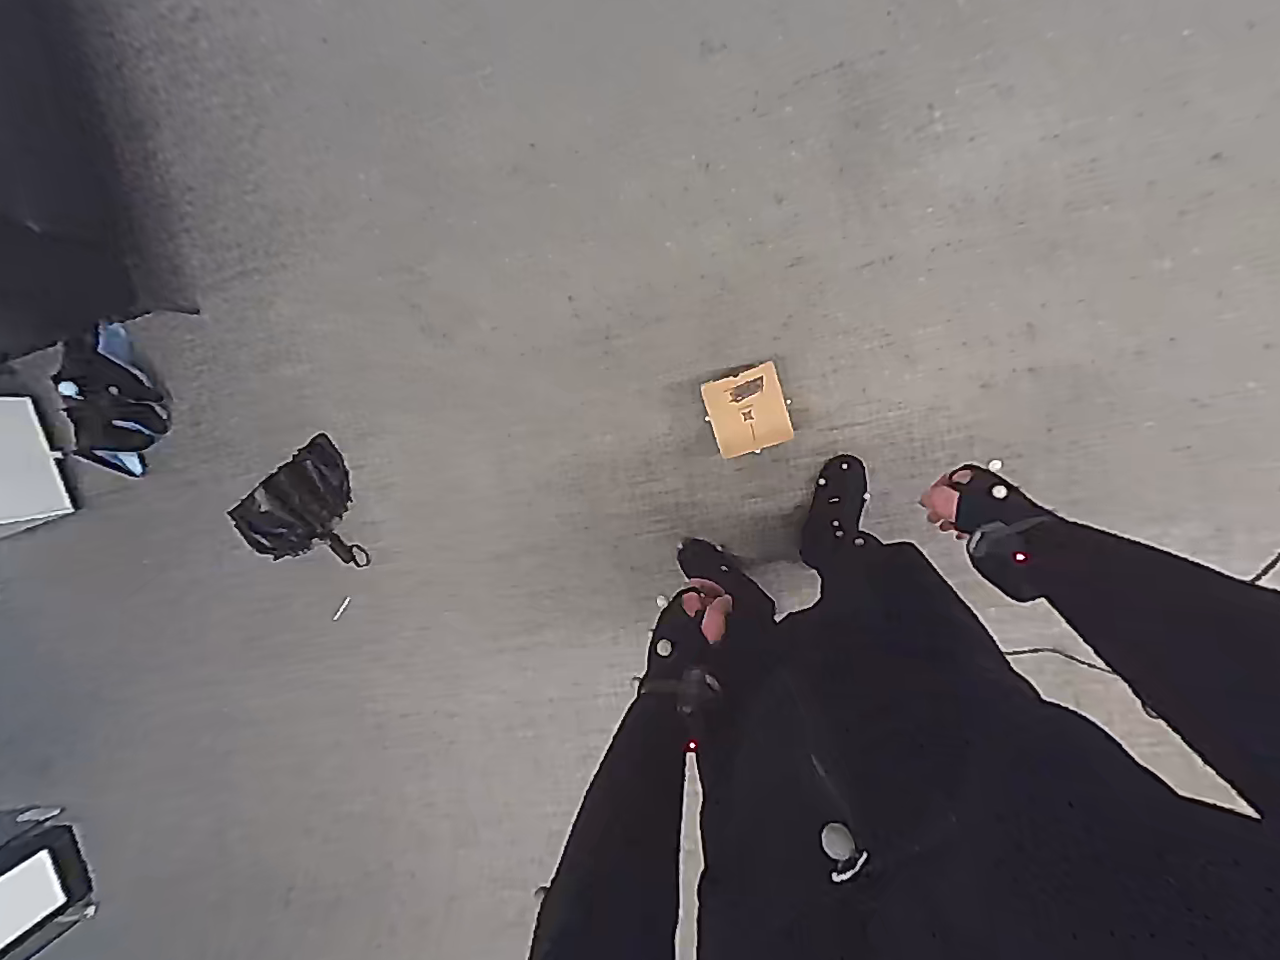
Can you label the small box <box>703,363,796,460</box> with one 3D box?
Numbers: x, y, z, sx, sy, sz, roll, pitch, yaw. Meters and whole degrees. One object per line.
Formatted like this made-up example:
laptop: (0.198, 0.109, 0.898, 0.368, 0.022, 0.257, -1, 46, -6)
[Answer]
small box: (0.253, -0.158, 1.253, 0.168, 0.176, 0.179, -17, 95, 15)
